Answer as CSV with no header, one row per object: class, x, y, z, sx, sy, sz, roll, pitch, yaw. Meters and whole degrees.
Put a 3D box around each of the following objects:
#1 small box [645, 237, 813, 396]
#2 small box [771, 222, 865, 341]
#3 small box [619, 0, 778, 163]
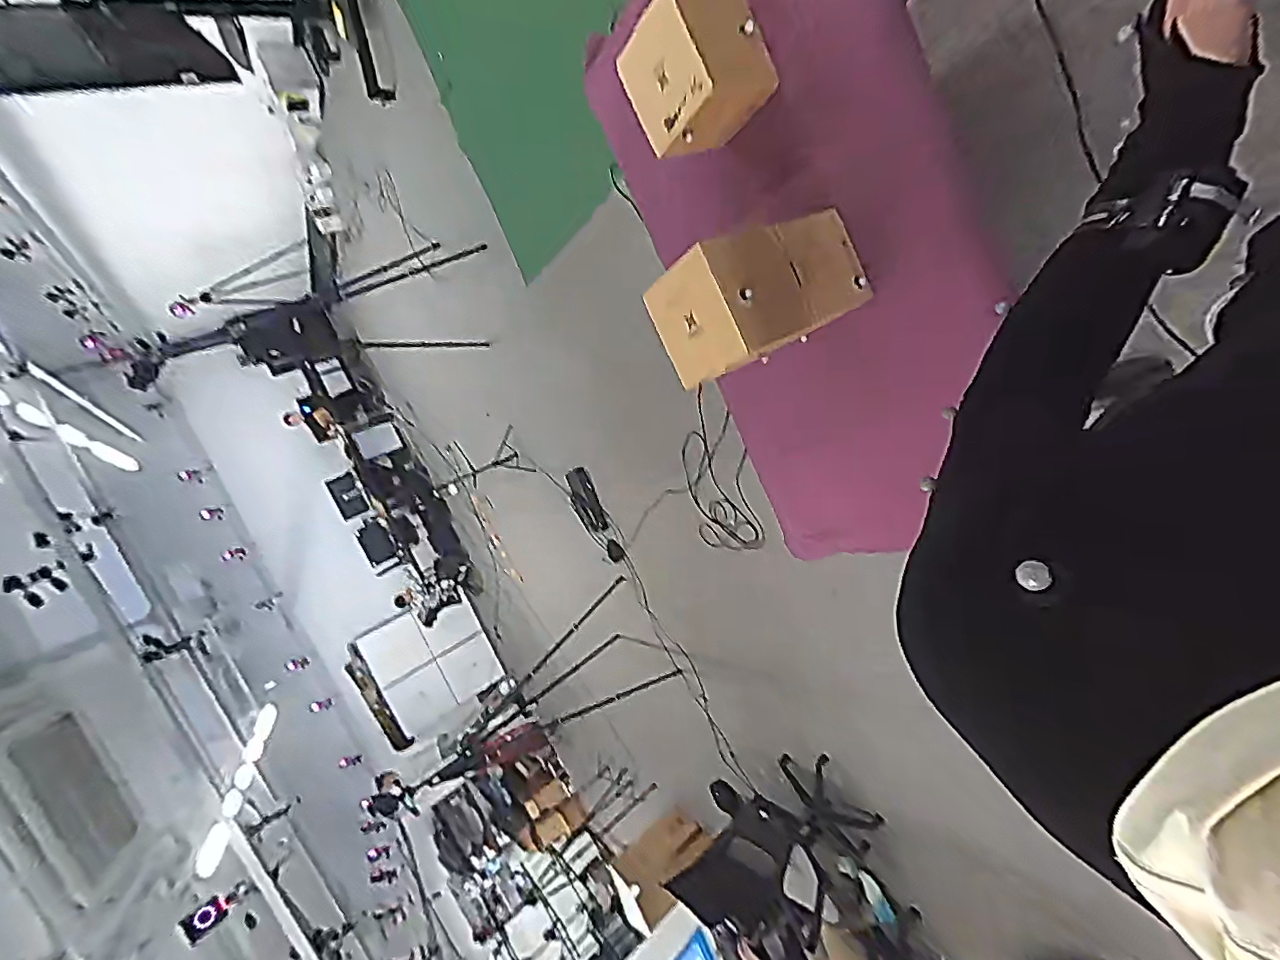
small box,0.145,-0.261,0.869,0.168,0.176,0.179,-19,97,58
small box,0.266,-0.327,0.954,0.179,0.176,0.168,-19,98,60
small box,0.099,-0.679,0.921,0.168,0.176,0.179,-17,100,59
